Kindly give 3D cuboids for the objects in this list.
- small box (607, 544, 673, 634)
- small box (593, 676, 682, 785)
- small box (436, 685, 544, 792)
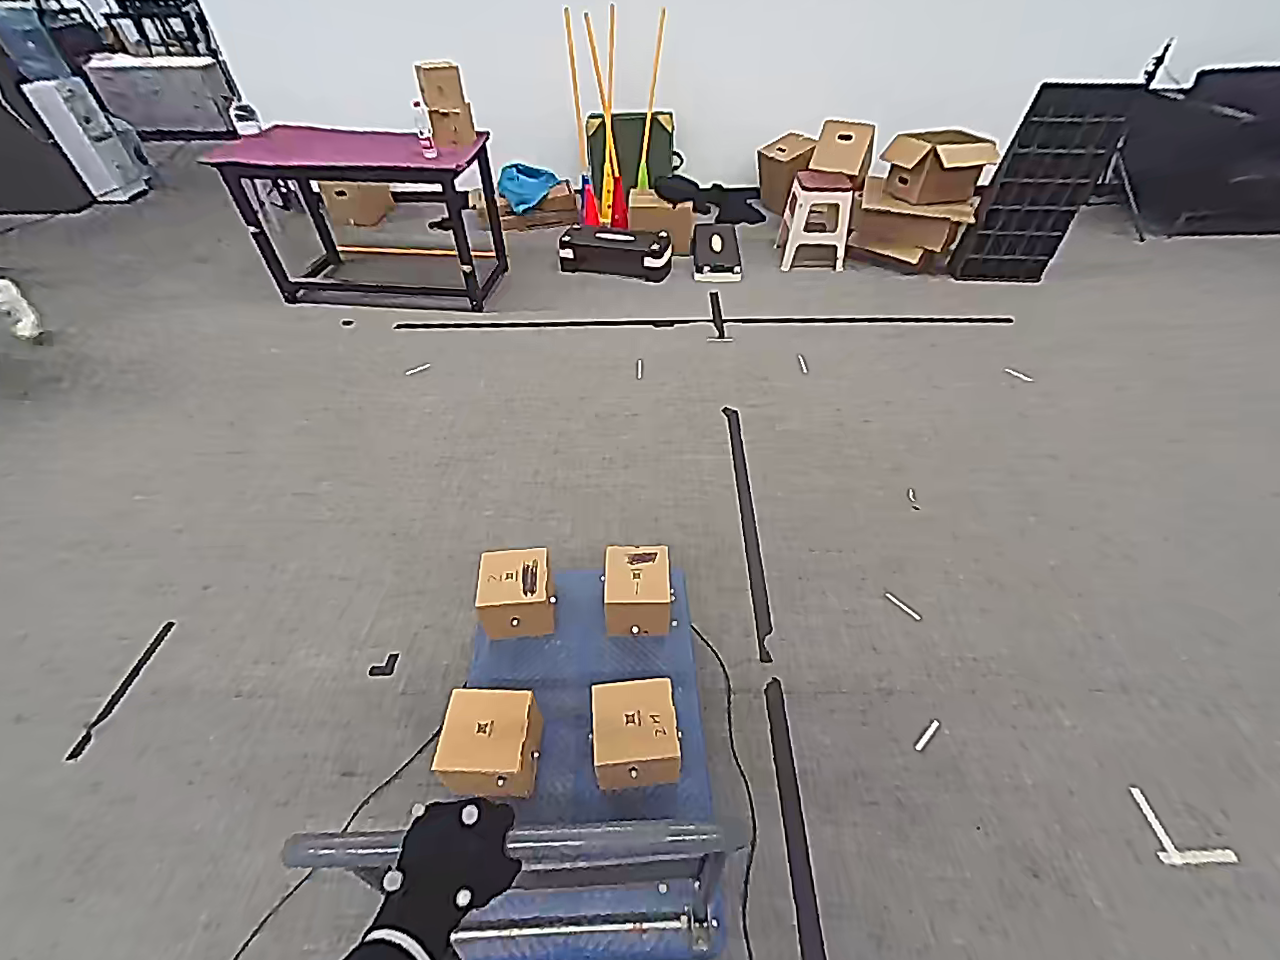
[{"bbox_3d":[0.001,0.289,1.438,0.168,0.176,0.179,0,46,0],"label":"small box"},{"bbox_3d":[-0.006,0.550,1.181,0.179,0.176,0.168,-4,46,-3],"label":"small box"},{"bbox_3d":[-0.315,0.563,1.174,0.179,0.176,0.168,2,45,0],"label":"small box"}]
